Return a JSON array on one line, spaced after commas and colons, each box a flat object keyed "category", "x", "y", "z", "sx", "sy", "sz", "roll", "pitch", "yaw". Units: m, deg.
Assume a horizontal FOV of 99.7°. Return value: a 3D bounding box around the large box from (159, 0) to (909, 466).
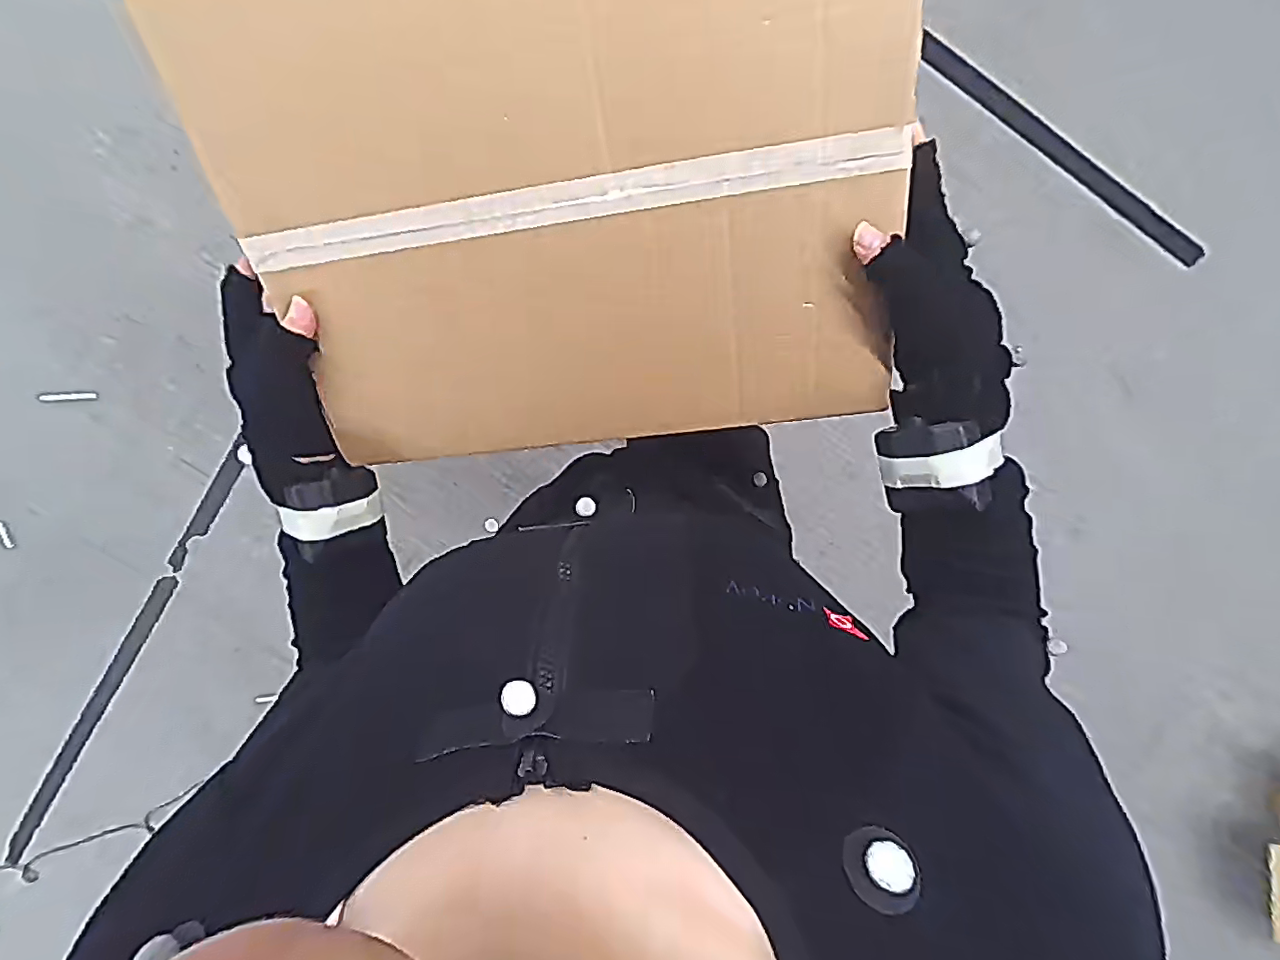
[{"category": "large box", "x": -0.039, "y": -0.237, "z": 0.465, "sx": 0.408, "sy": 0.320, "sz": 0.320, "roll": -6, "pitch": 120, "yaw": 7}]
